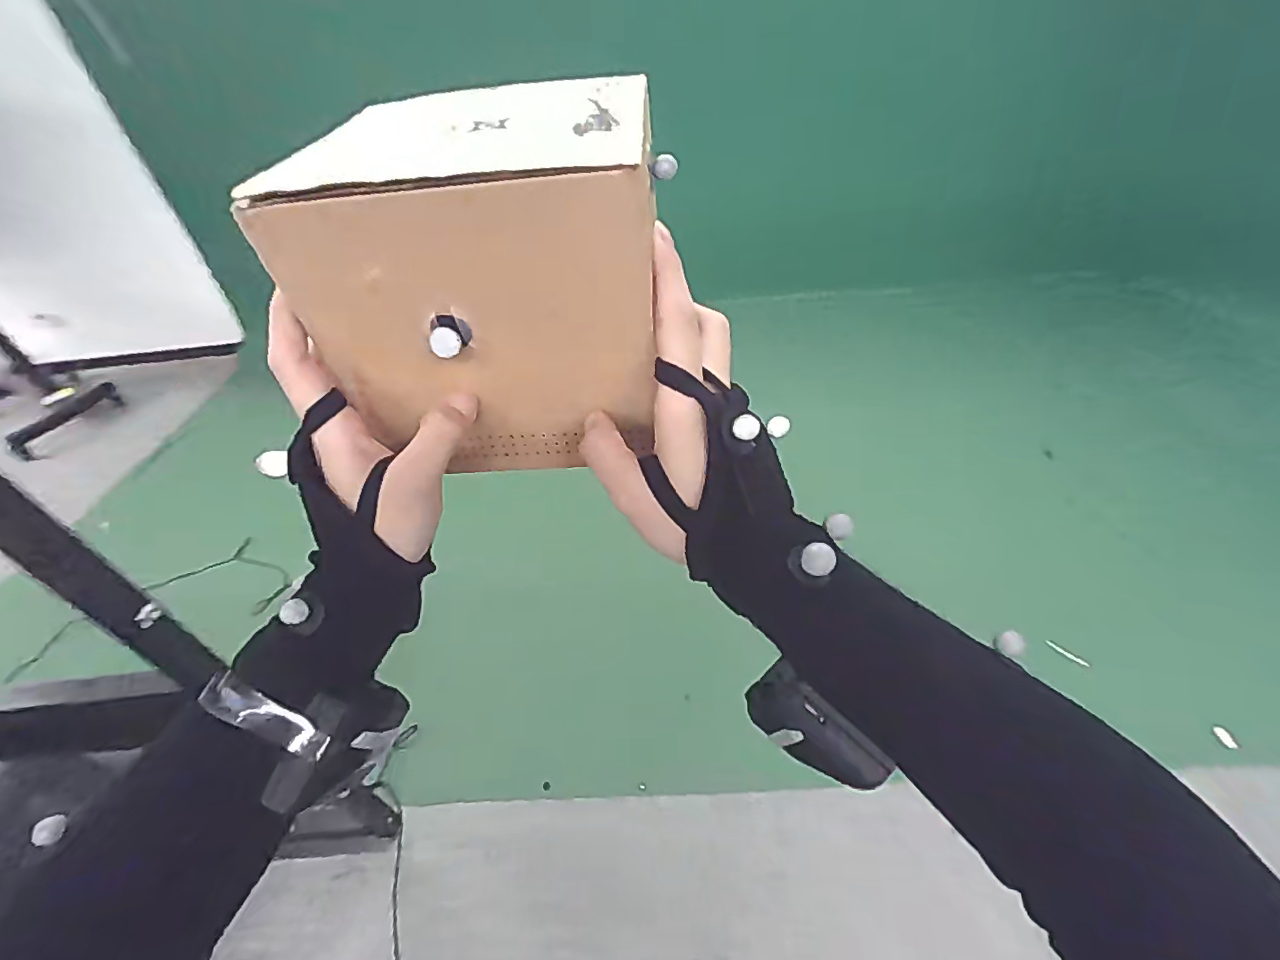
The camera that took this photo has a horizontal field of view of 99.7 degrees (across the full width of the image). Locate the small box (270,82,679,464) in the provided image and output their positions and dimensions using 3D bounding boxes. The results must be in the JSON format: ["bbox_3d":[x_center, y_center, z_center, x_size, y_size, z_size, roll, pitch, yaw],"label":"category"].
[{"bbox_3d":[-0.069,-0.124,0.343,0.179,0.176,0.168,-3,47,6],"label":"small box"}]
